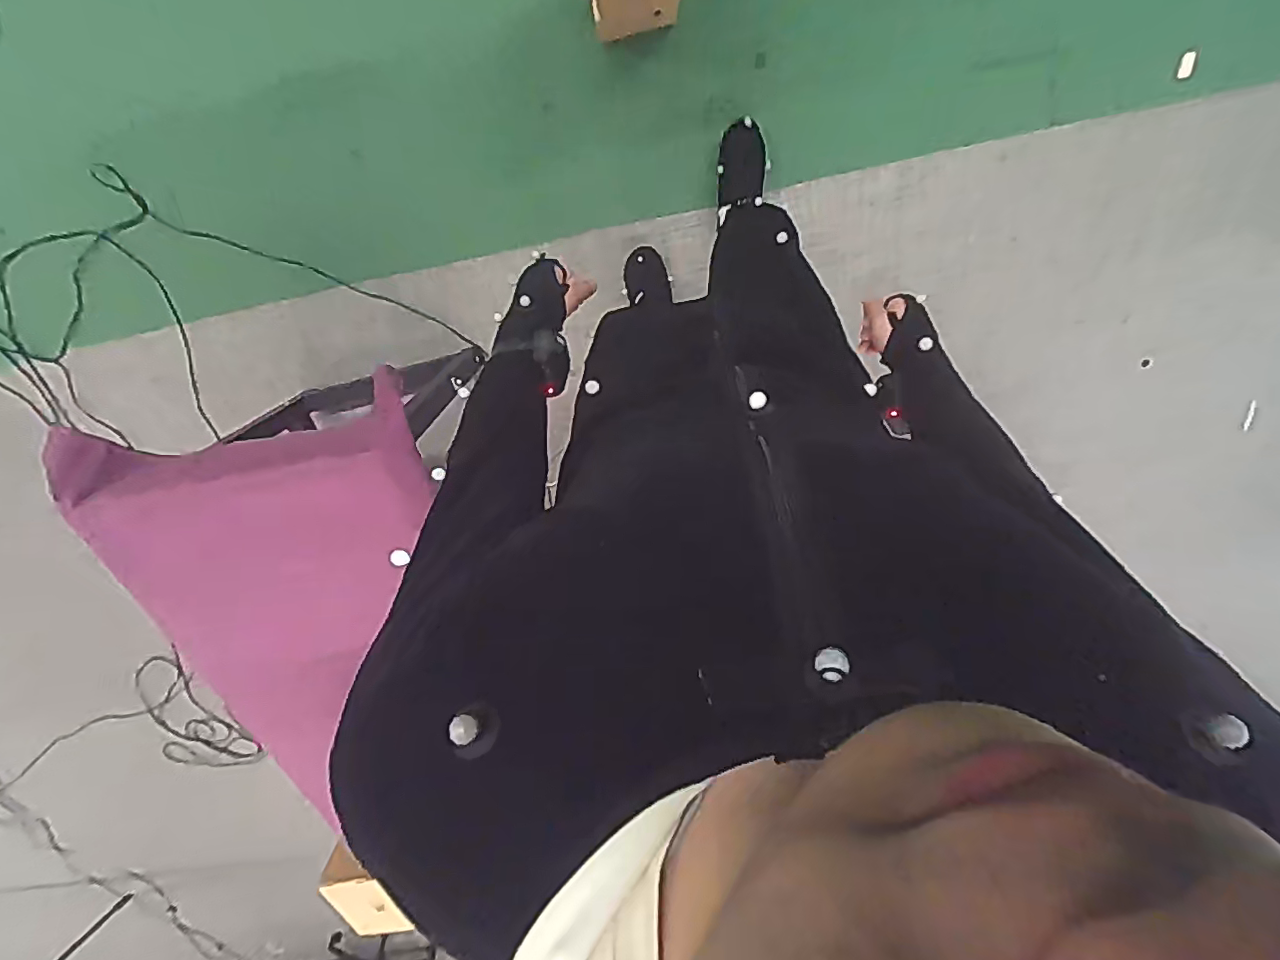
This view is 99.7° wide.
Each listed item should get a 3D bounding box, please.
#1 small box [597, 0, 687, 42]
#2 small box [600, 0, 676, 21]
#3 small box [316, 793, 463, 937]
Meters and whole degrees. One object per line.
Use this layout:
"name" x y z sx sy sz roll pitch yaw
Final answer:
"small box" -0.007 -1.030 1.103 0.179 0.176 0.168 -10 117 6
"small box" -0.004 -0.958 0.958 0.179 0.176 0.168 -12 117 8
"small box" -0.464 0.725 1.033 0.168 0.176 0.179 -10 117 7
